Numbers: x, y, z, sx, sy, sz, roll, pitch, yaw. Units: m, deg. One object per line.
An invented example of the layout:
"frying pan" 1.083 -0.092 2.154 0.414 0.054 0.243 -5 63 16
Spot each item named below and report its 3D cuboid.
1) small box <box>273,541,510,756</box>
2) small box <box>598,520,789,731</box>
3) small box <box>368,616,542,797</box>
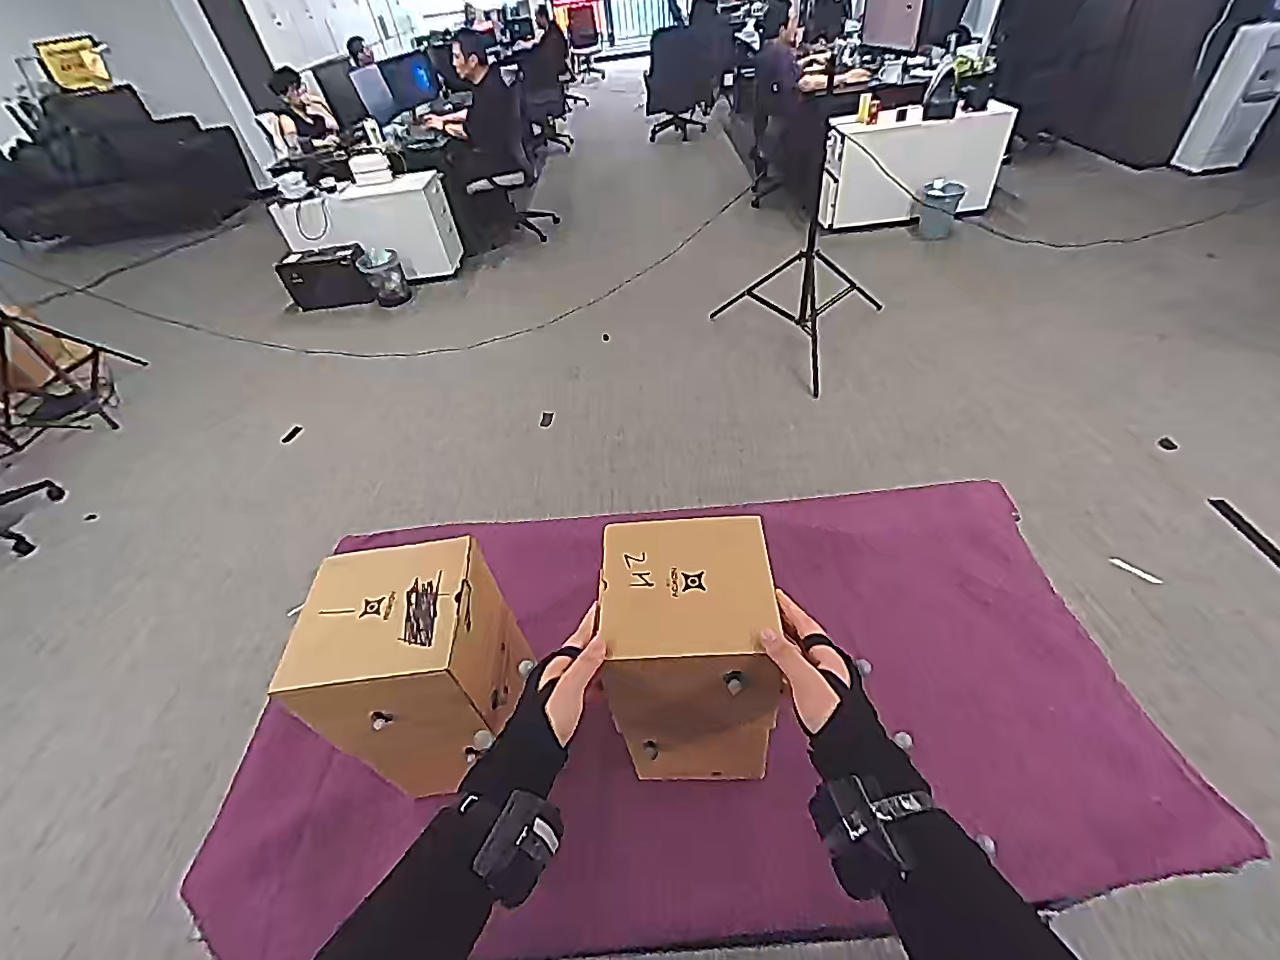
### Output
"small box" -0.258 0.194 0.619 0.179 0.176 0.168 -8 43 1
"small box" 0.057 0.163 0.599 0.179 0.176 0.168 -4 43 5
"small box" -0.243 0.310 0.735 0.179 0.176 0.168 -8 43 0
